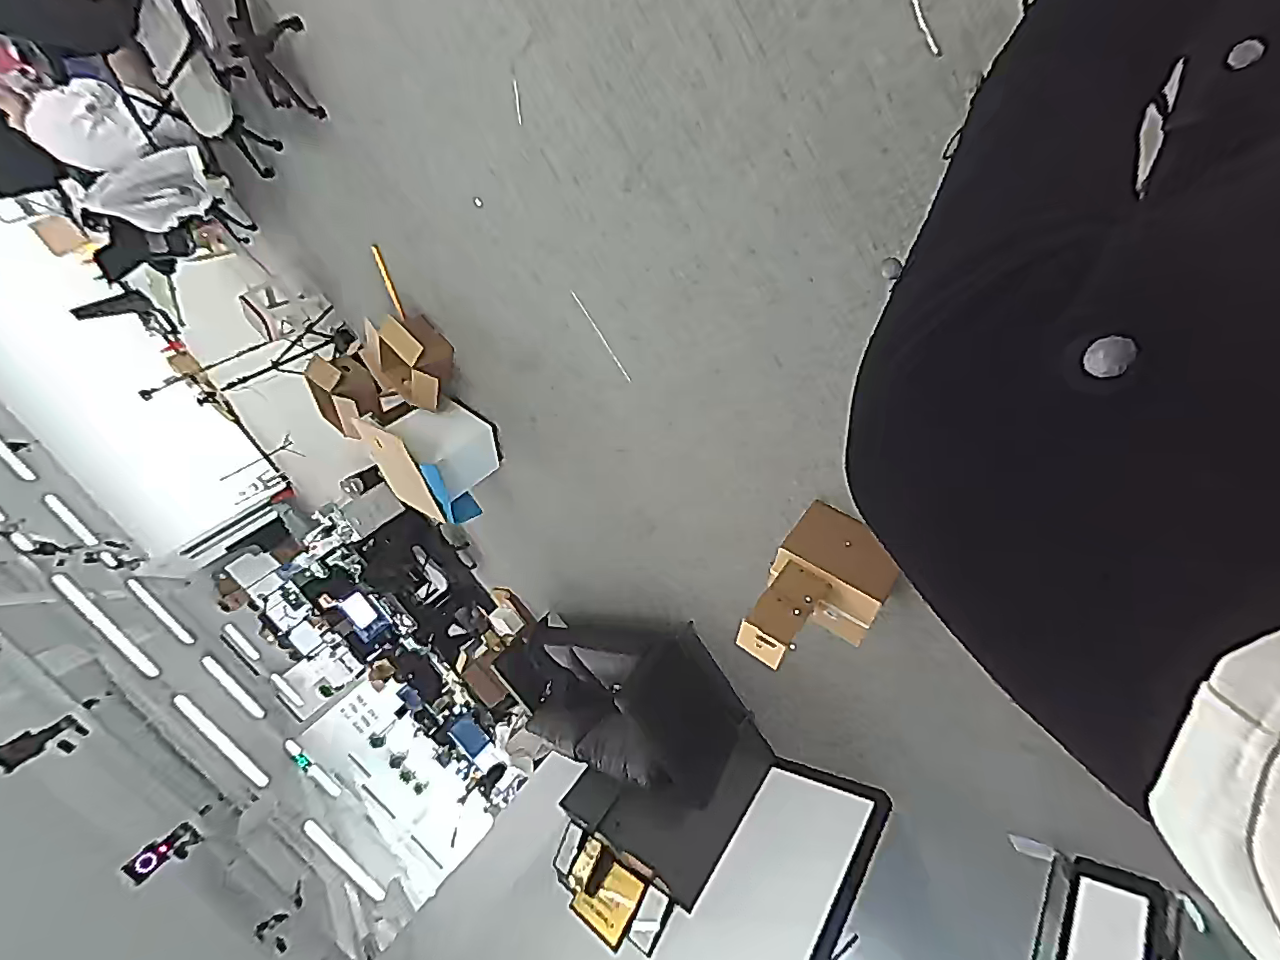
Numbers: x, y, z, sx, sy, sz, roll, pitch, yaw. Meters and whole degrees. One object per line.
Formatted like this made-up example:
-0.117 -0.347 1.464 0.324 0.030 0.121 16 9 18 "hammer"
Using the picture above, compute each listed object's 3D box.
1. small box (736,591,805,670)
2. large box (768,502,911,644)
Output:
0.461 0.525 1.903 0.168 0.176 0.179 31 143 24 "small box"
0.771 0.356 2.126 0.408 0.320 0.320 29 143 25 "large box"
